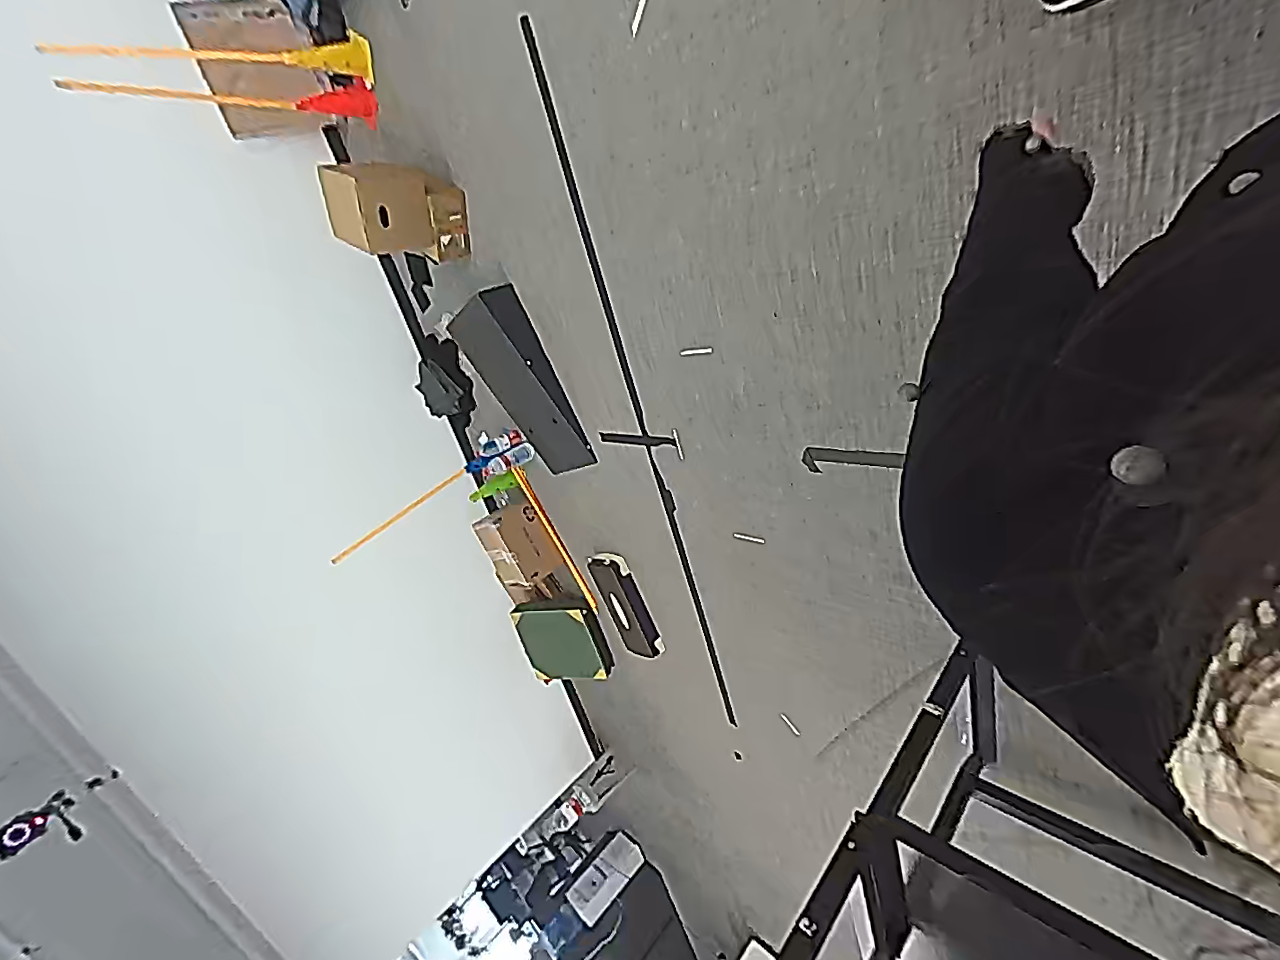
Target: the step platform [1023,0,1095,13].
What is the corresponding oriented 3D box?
[{"bbox_3d":[0.888,-0.889,0.678,0.684,0.204,0.286,16,128,45],"label":"step platform"}]
